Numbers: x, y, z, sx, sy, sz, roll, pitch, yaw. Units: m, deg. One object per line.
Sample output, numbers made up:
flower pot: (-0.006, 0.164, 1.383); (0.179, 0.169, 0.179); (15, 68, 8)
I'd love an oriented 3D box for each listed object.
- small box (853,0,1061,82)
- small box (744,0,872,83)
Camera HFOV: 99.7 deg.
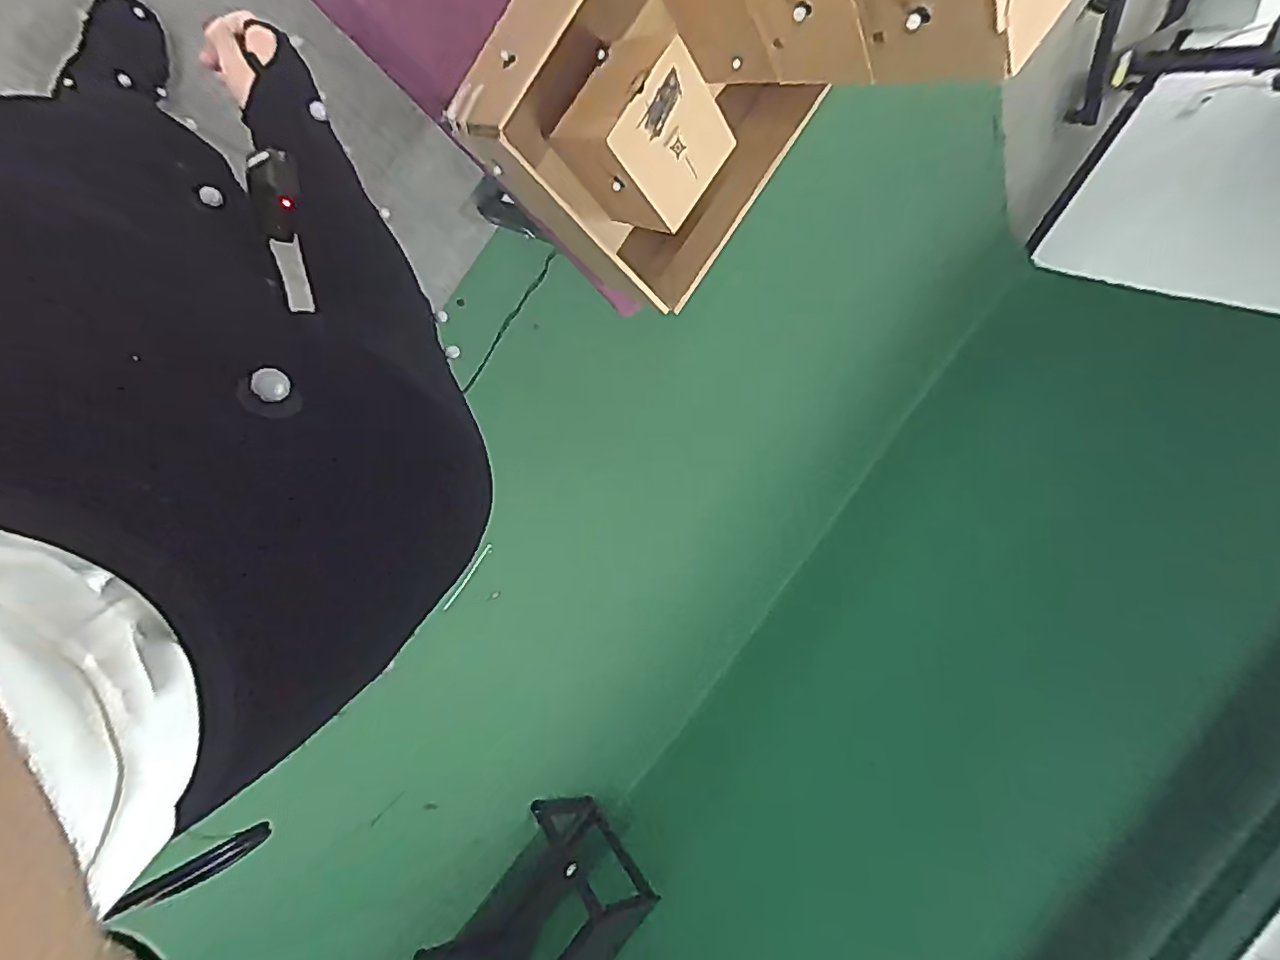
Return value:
small box: (0.349, -0.570, 0.582); (0.179, 0.176, 0.168); (-53, 139, 3)
small box: (0.250, -0.647, 0.690); (0.179, 0.176, 0.168); (-54, 139, 3)
